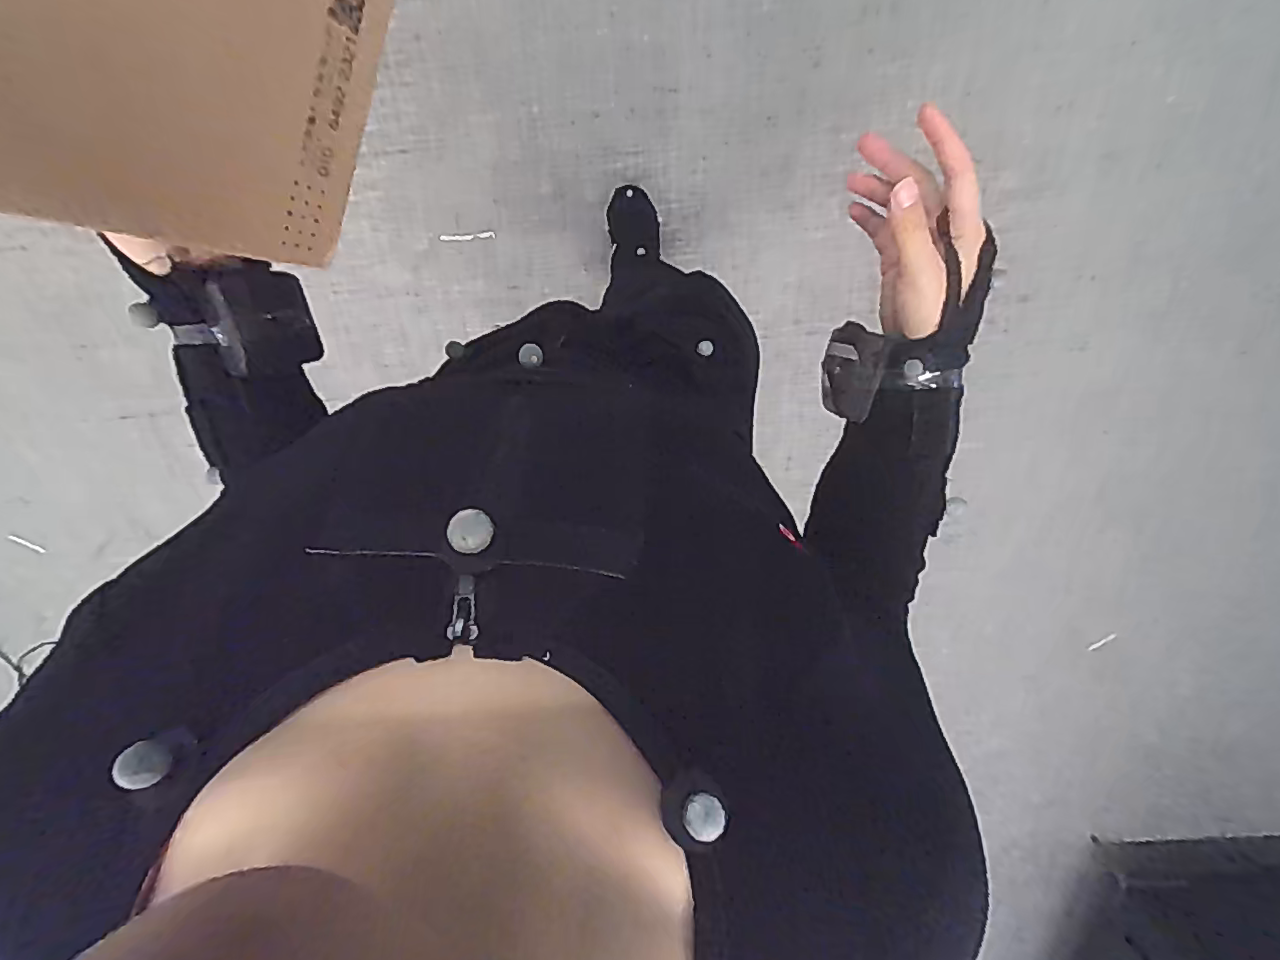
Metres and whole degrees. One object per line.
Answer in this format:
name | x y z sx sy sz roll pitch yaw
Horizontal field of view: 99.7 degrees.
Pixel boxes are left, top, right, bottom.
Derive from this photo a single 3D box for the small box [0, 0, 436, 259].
small box | -0.203 -0.194 0.183 0.179 0.176 0.168 29 110 11
